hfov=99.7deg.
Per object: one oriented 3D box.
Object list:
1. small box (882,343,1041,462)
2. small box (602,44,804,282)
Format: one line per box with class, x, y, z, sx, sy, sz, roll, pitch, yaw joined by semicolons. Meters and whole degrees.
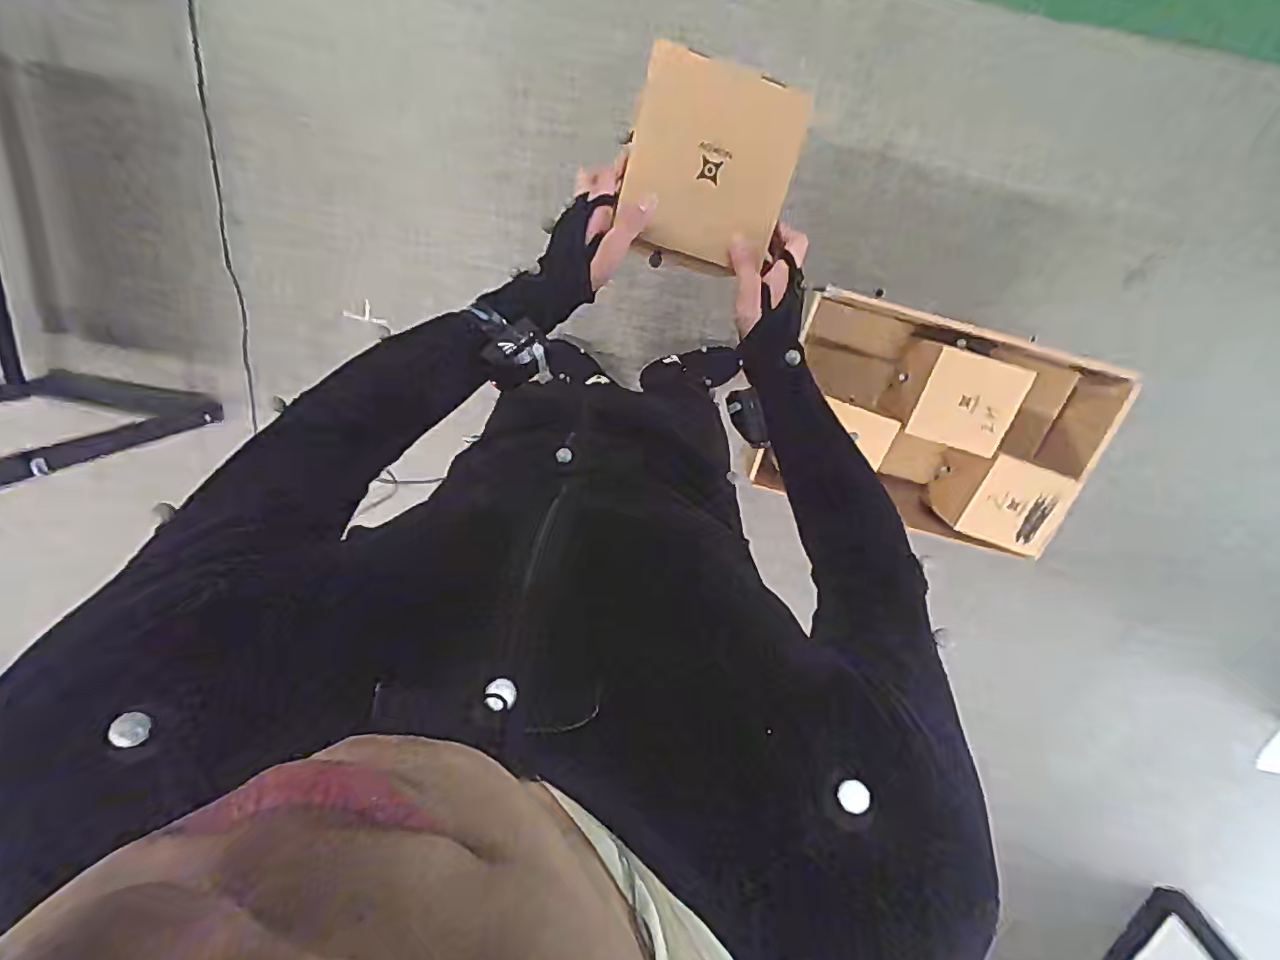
small box;0.596;-0.156;1.034;0.179;0.176;0.168;17;111;-1
small box;0.055;-0.332;0.610;0.168;0.176;0.179;12;107;-9
